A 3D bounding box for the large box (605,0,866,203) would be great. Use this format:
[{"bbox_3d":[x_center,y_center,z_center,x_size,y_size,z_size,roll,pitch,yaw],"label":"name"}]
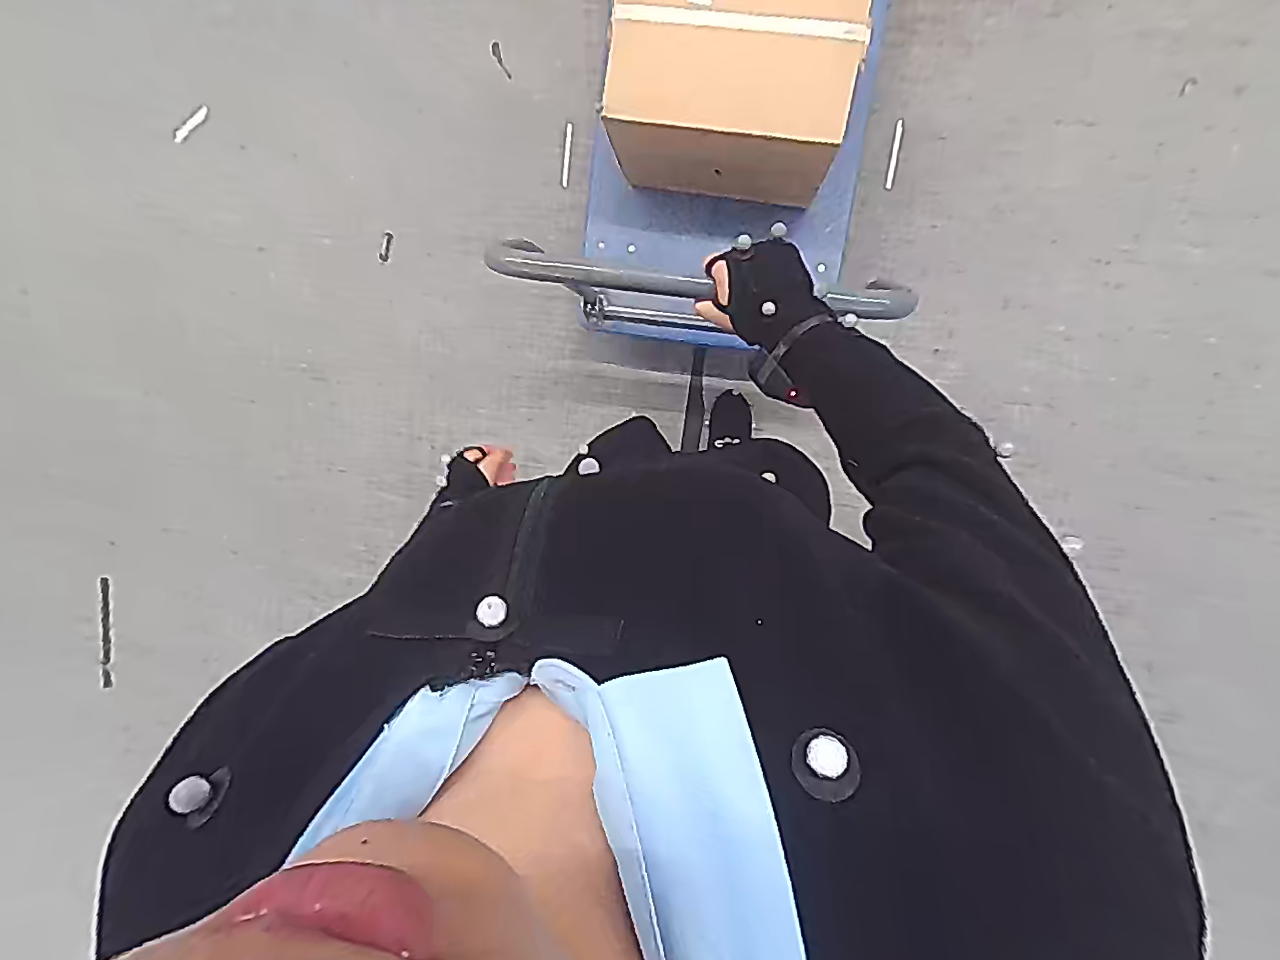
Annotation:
[{"bbox_3d":[0.177,-0.754,1.028,0.408,0.320,0.320,10,99,6],"label":"large box"}]
